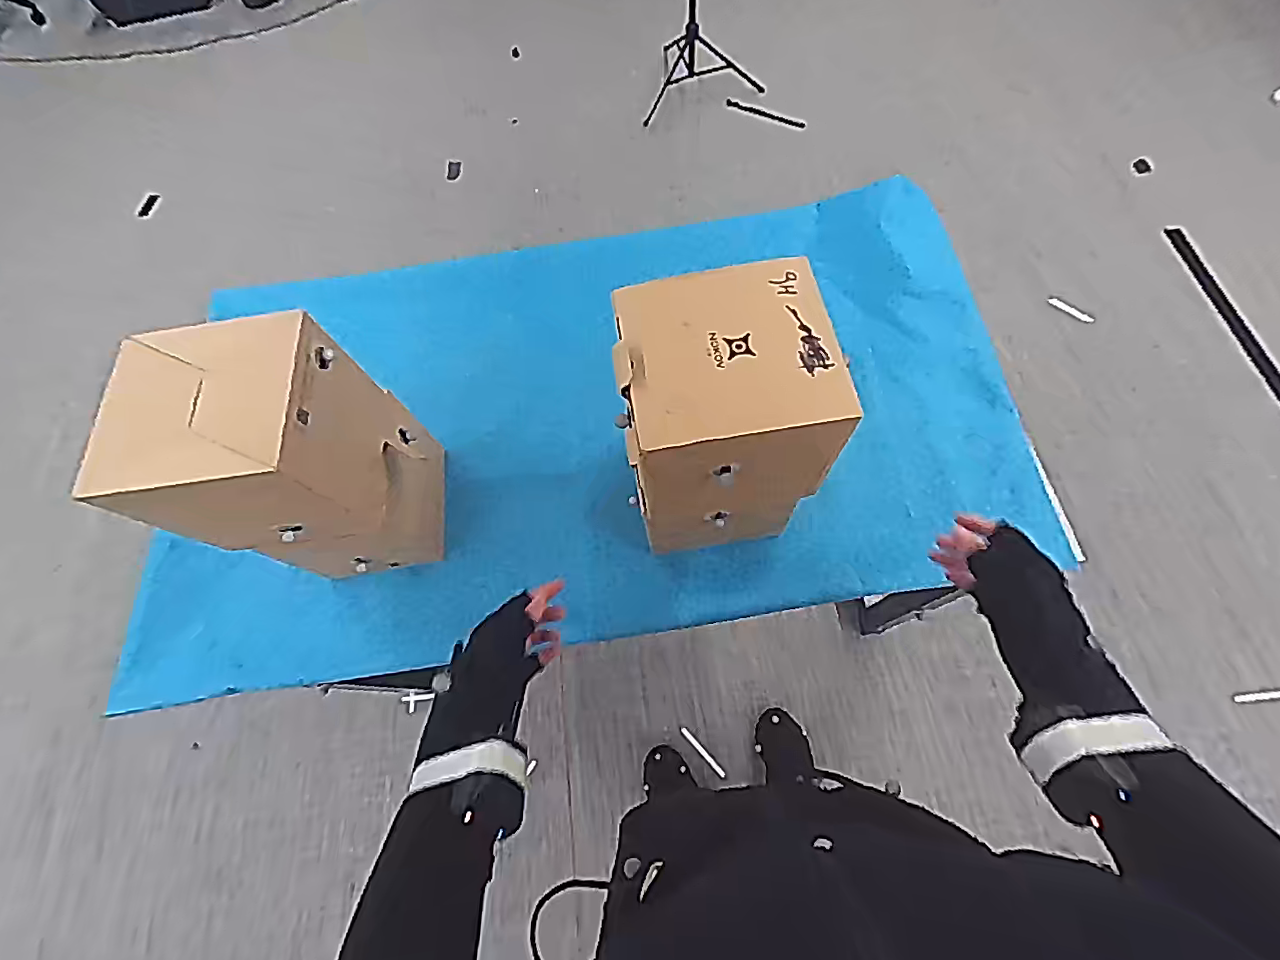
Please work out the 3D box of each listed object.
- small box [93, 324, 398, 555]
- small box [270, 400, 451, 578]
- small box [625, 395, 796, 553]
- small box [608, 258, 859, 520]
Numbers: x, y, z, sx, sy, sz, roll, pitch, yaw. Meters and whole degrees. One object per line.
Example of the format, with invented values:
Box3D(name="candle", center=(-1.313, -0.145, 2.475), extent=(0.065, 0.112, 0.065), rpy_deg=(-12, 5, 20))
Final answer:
Box3D(name="small box", center=(-0.373, -0.034, 0.546), extent=(0.179, 0.176, 0.168), rpy_deg=(-8, 67, 2))
Box3D(name="small box", center=(-0.361, 0.019, 0.704), extent=(0.168, 0.176, 0.179), rpy_deg=(-7, 69, 5))
Box3D(name="small box", center=(0.086, -0.017, 0.669), extent=(0.179, 0.176, 0.168), rpy_deg=(-9, 67, 3))
Box3D(name="small box", center=(0.078, -0.074, 0.517), extent=(0.179, 0.176, 0.168), rpy_deg=(-12, 67, 0))
